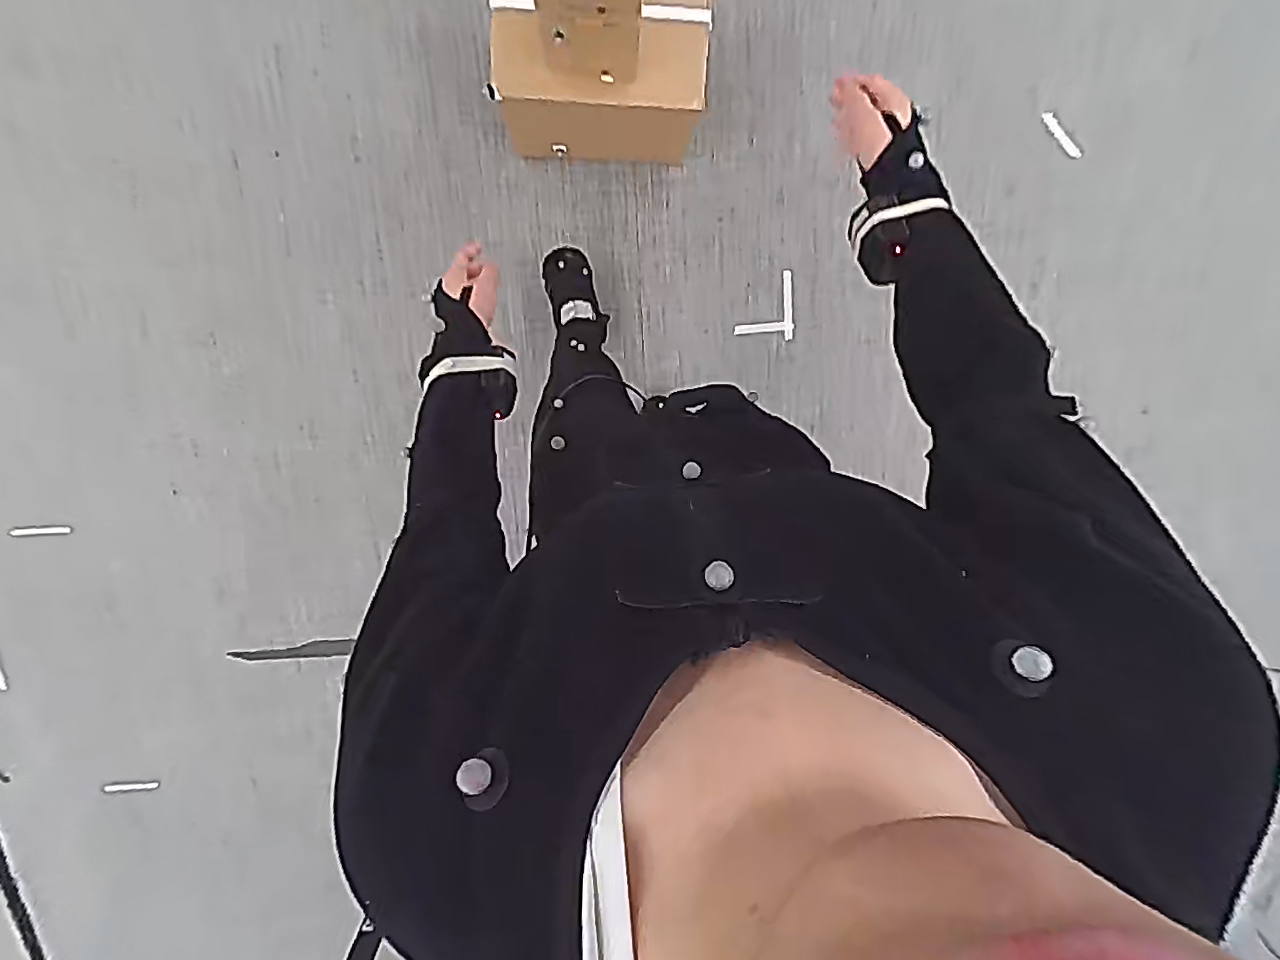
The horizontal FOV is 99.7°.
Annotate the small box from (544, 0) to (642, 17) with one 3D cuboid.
[{"bbox_3d":[-0.072,-0.795,0.754,0.168,0.176,0.179,2,103,-4],"label":"small box"}]
